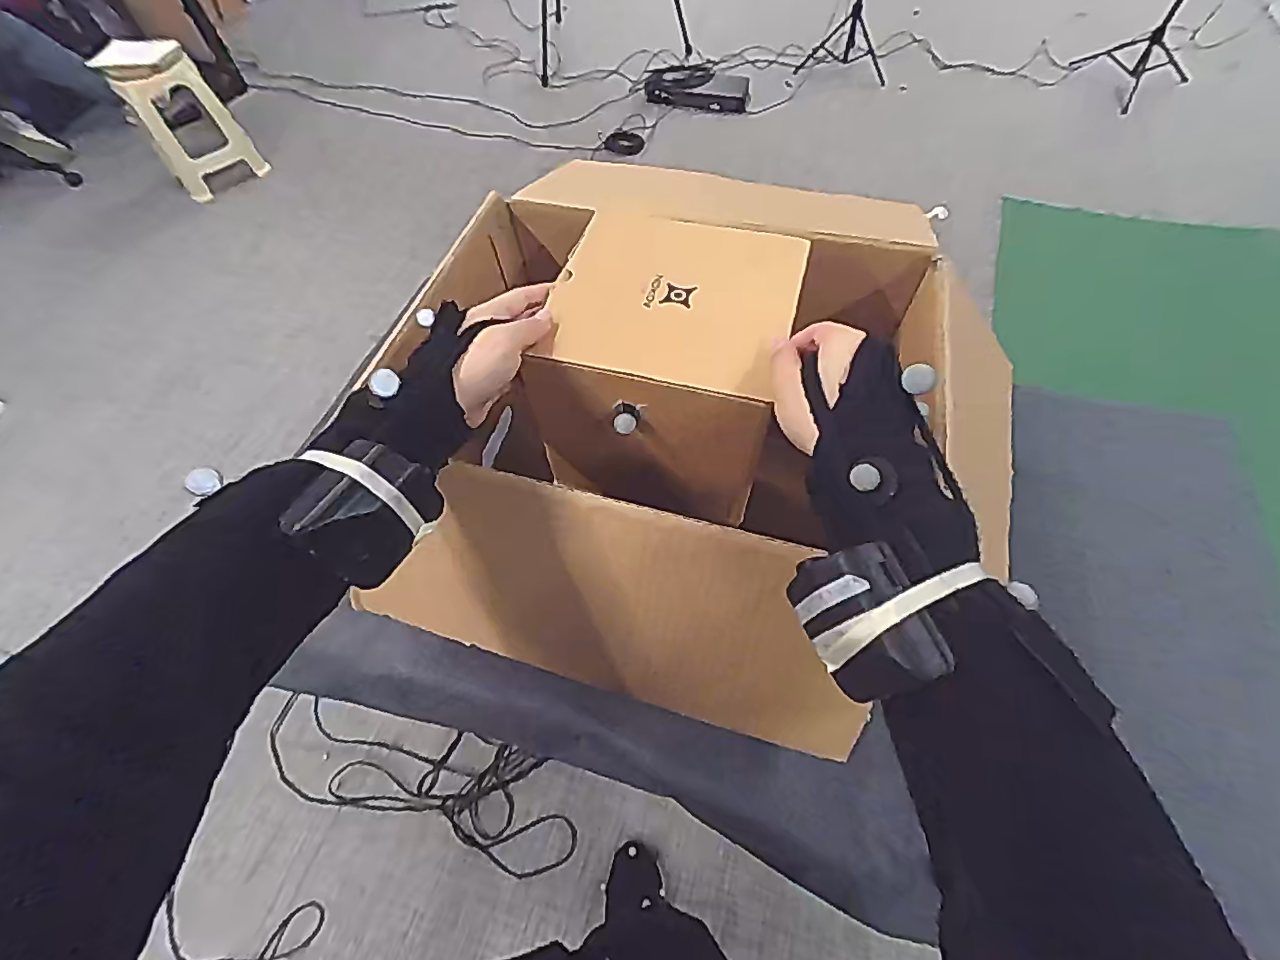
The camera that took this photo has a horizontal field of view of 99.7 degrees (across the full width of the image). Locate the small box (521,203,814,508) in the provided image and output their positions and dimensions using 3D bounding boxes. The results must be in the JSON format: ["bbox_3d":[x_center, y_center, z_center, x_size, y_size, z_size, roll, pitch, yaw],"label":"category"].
[{"bbox_3d":[0.028,-0.095,0.451,0.179,0.176,0.168,13,60,11],"label":"small box"}]
